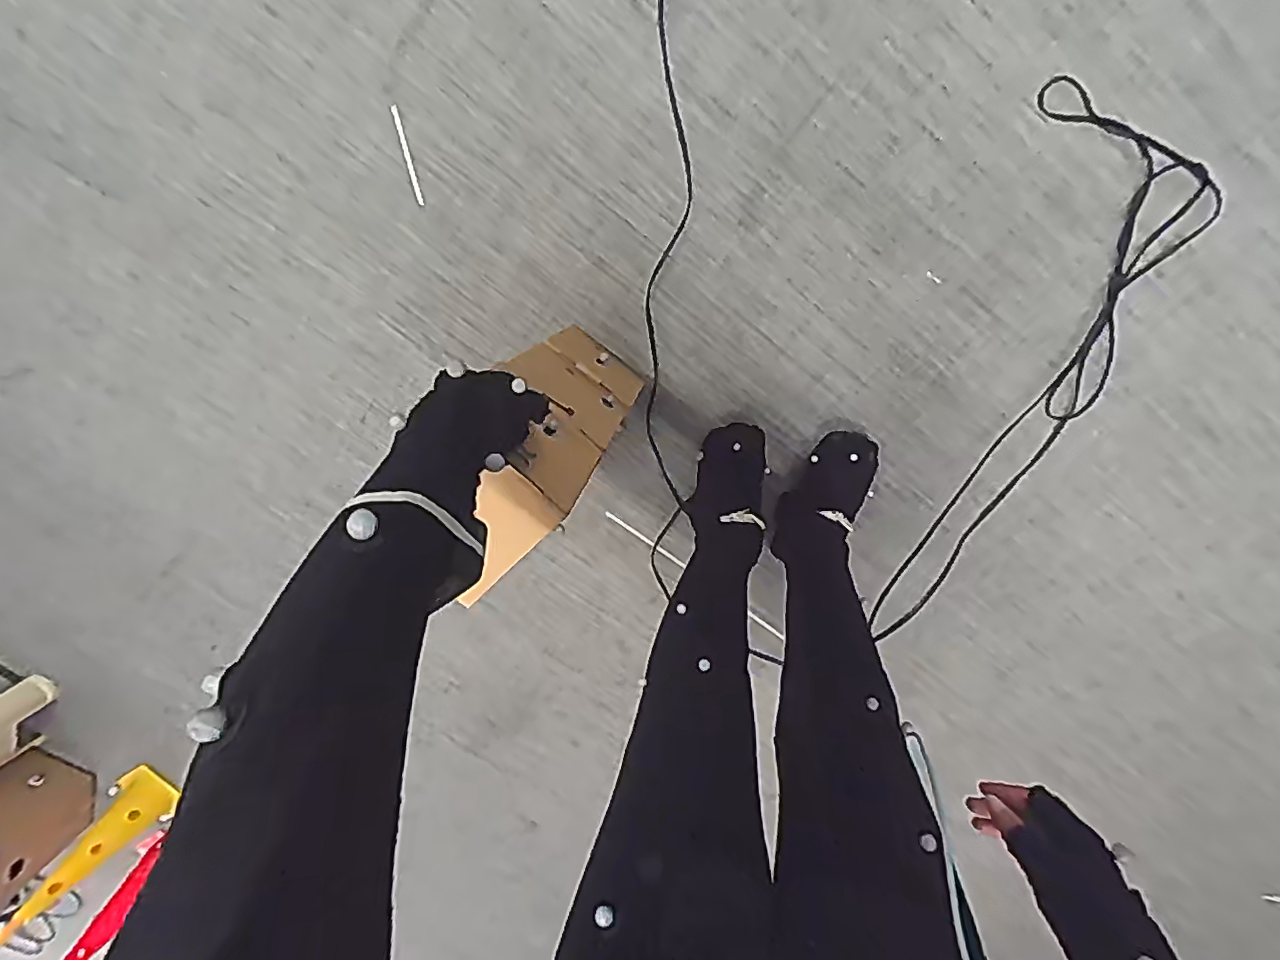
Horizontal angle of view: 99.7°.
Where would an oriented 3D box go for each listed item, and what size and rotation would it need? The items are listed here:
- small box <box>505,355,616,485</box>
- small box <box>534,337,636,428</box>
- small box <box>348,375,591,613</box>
[{"bbox_3d":[-0.150,-0.052,0.763,0.168,0.176,0.179,38,115,-9],"label":"small box"},{"bbox_3d":[-0.121,-0.121,0.913,0.168,0.176,0.179,36,113,-5],"label":"small box"},{"bbox_3d":[-0.178,0.008,0.615,0.168,0.176,0.179,43,112,-11],"label":"small box"}]
